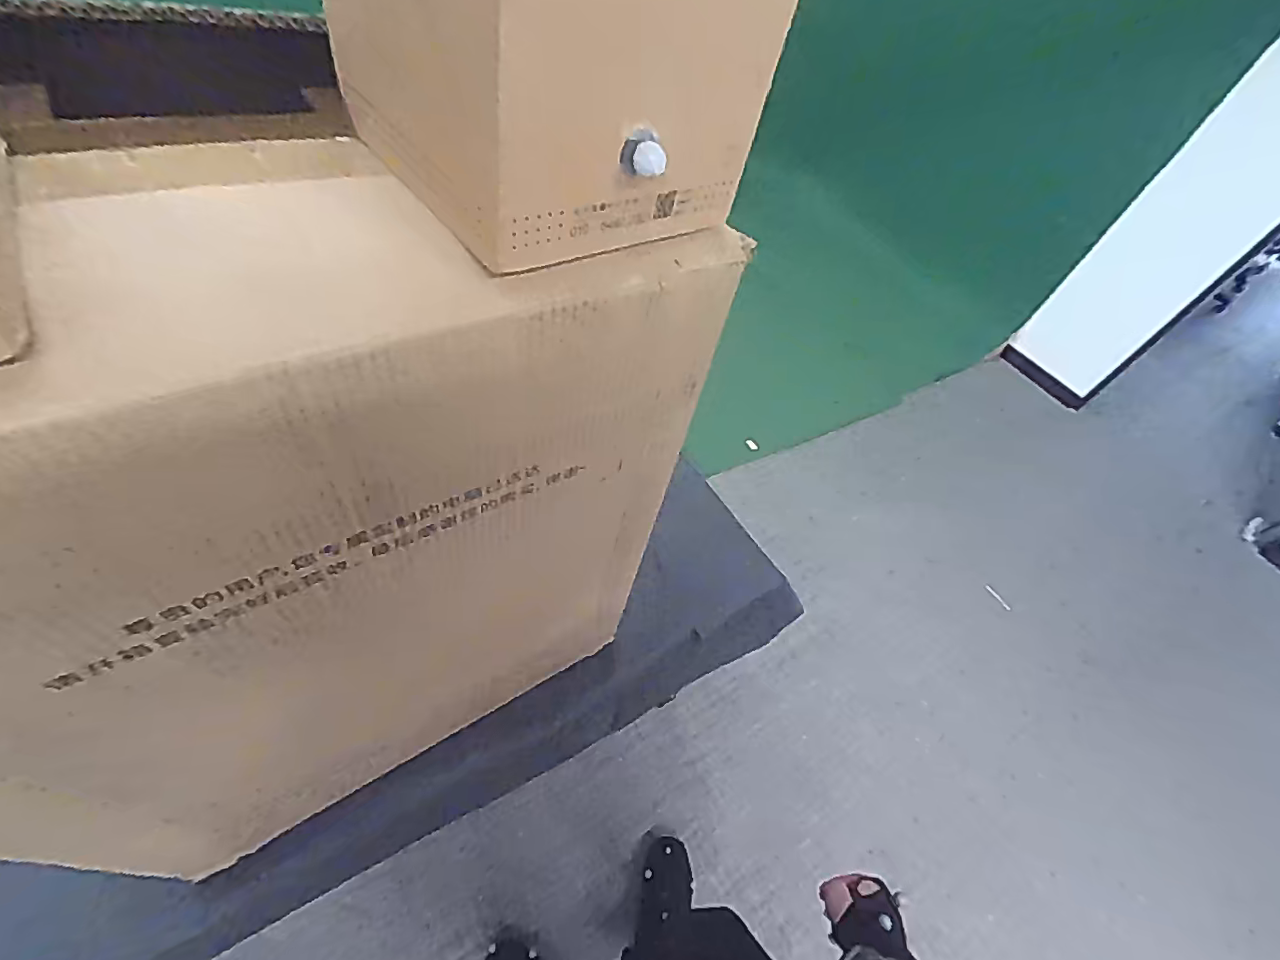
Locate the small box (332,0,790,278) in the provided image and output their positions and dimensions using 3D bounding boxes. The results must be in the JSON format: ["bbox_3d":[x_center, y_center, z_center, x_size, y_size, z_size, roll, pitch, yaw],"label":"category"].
[{"bbox_3d":[-0.049,-0.234,0.281,0.168,0.176,0.179,-28,63,-31],"label":"small box"}]
